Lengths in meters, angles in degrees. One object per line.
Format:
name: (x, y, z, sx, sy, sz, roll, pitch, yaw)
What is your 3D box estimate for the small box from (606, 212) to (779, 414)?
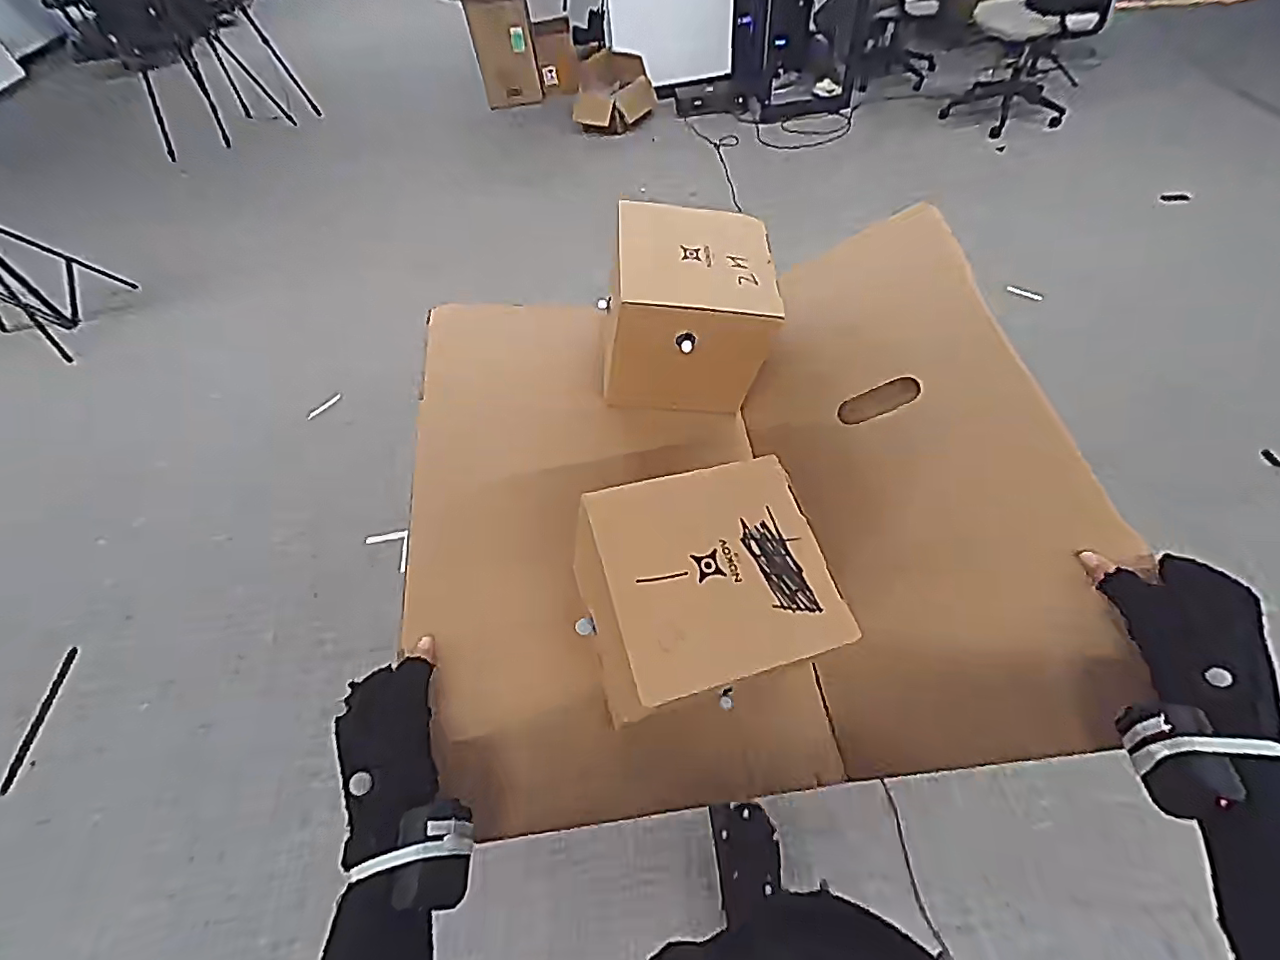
small box: (0.050, -0.197, 0.669, 0.179, 0.176, 0.168, 3, 60, -8)

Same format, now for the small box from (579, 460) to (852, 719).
small box: (0.049, 0.105, 0.495, 0.179, 0.176, 0.168, -12, 63, -15)
